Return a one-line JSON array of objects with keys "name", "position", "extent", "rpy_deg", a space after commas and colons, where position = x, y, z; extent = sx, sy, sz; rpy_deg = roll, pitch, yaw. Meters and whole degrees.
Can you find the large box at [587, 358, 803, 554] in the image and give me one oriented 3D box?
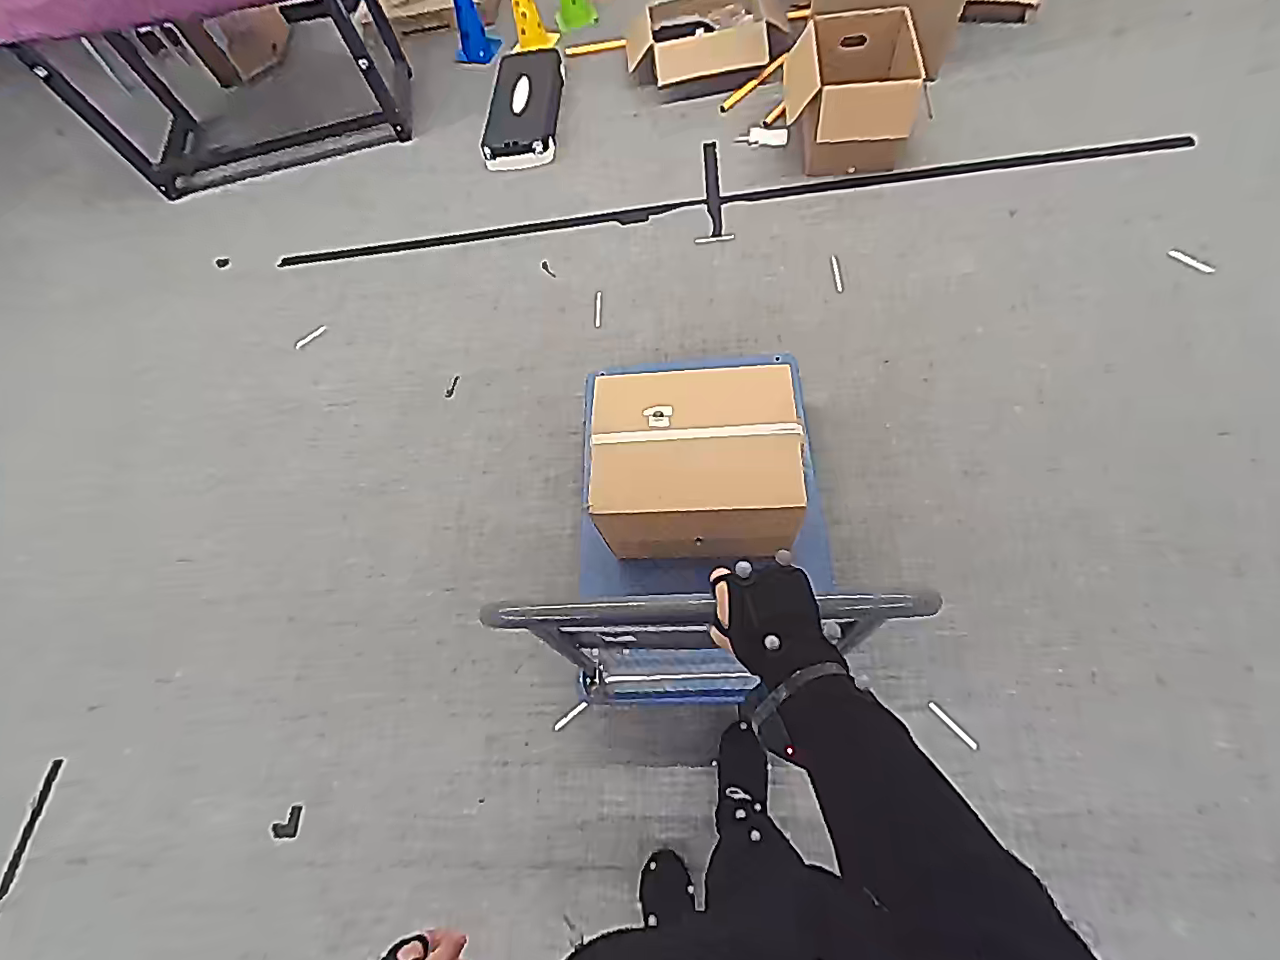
[{"name": "large box", "position": [0.119, -0.033, 1.187], "extent": [0.408, 0.320, 0.320], "rpy_deg": [-3, 64, 8]}]
